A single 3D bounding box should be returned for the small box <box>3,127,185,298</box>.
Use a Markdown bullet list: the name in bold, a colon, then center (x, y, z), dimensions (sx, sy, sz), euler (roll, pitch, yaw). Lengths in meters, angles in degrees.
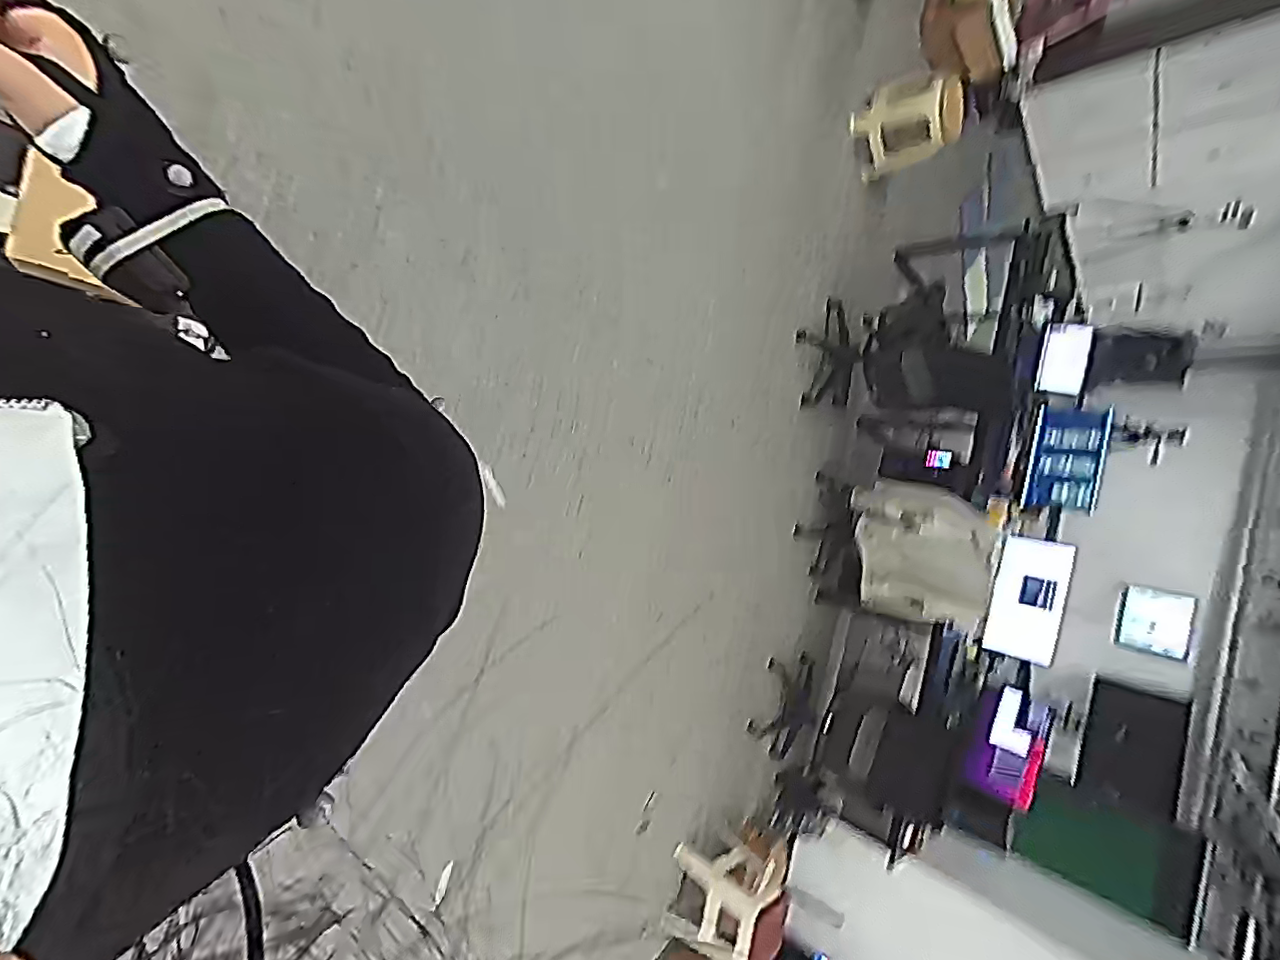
- **small box**: center (-0.854, -0.402, 0.854), dimensions (0.168, 0.176, 0.179), euler (14, 88, -45)
